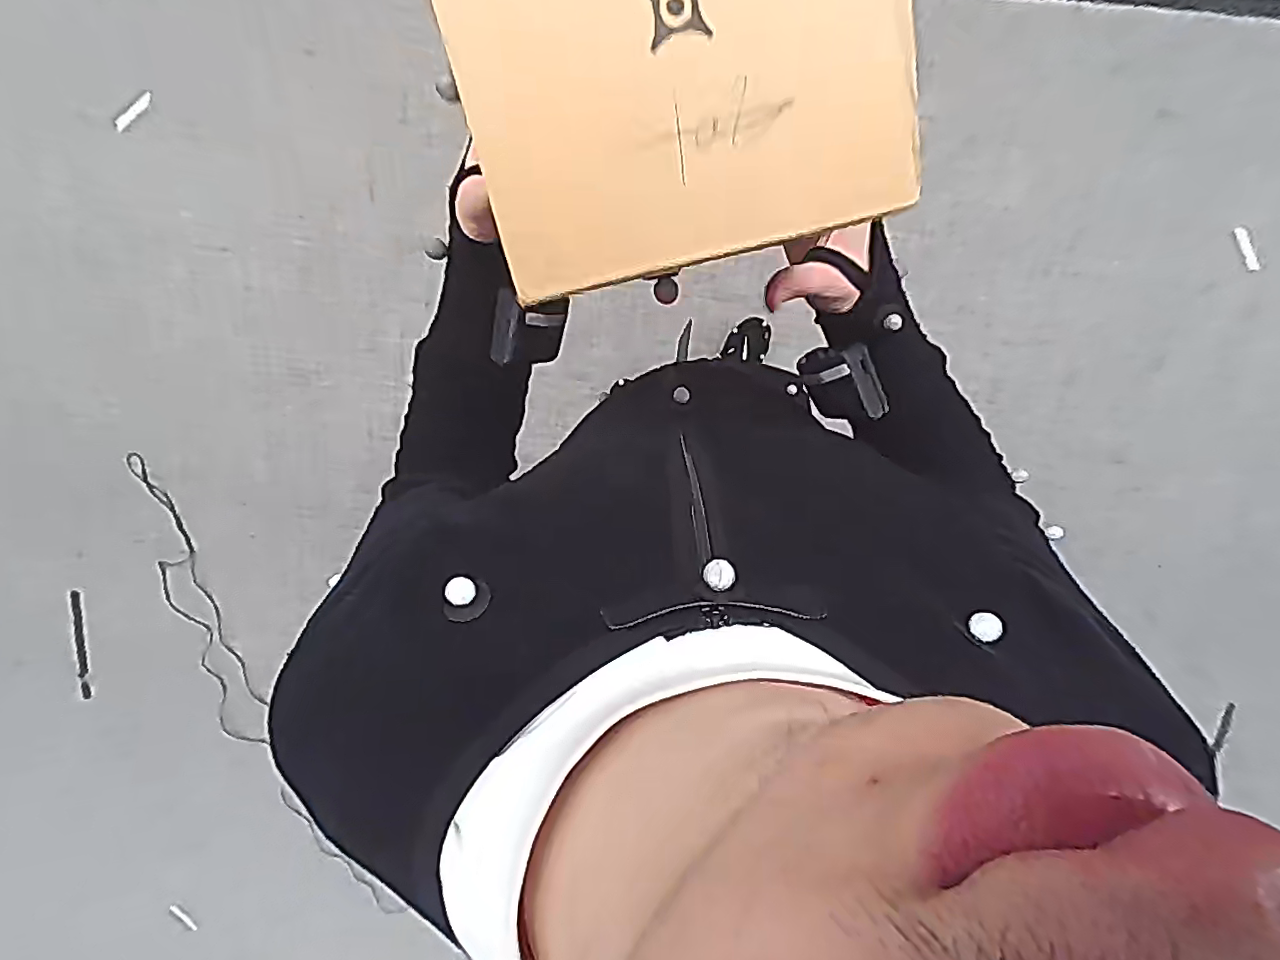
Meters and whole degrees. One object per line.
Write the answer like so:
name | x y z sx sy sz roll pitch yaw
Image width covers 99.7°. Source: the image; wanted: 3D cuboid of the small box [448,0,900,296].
small box | 0.009 -0.200 0.275 0.168 0.176 0.179 -12 111 2
